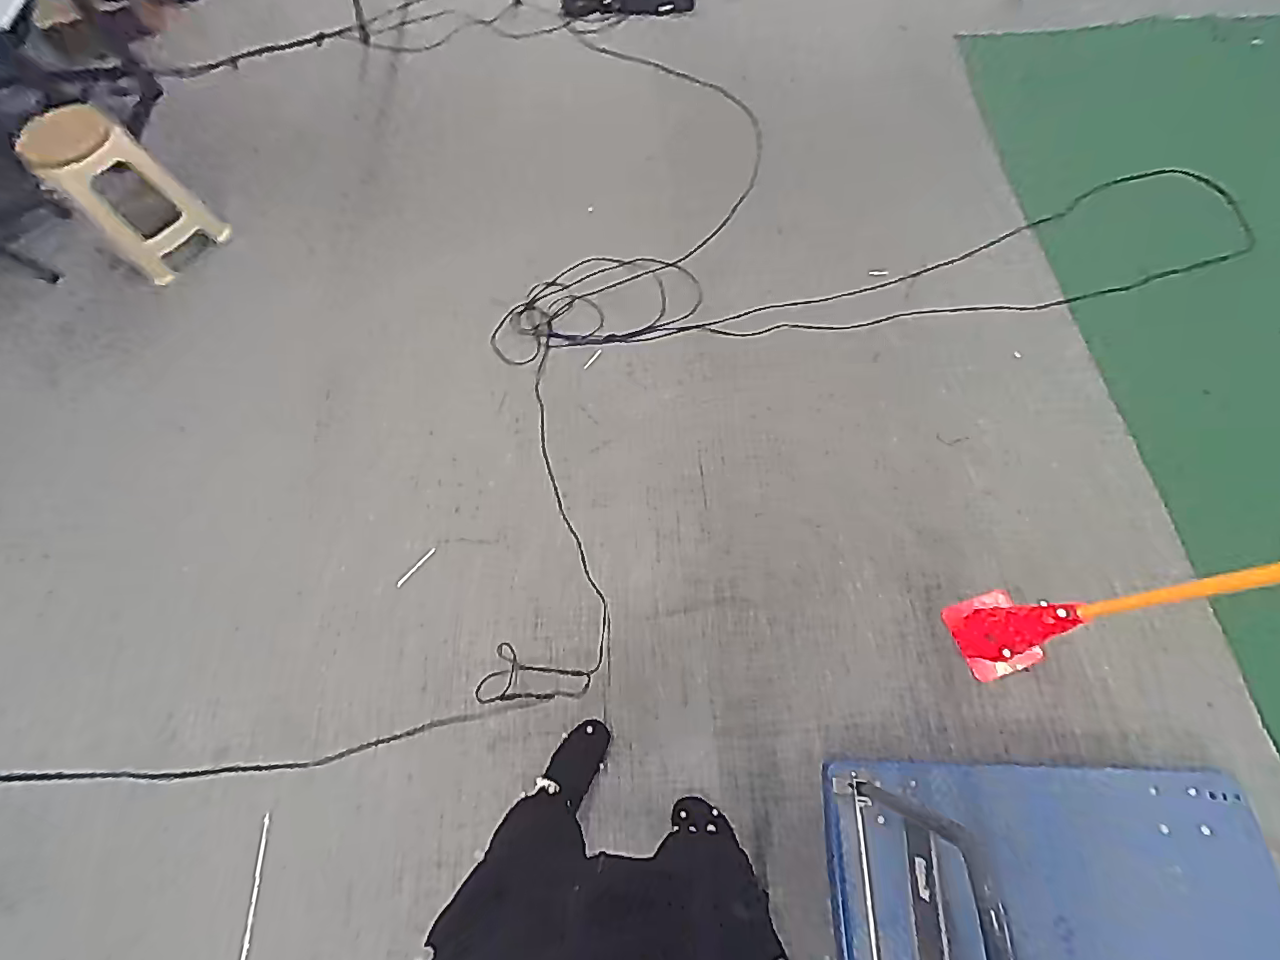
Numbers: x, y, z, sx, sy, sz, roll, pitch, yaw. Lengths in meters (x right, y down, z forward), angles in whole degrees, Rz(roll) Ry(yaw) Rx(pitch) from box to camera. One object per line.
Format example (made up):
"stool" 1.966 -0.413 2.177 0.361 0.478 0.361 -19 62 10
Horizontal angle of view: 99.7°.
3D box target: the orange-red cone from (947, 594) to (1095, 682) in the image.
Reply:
"orange-red cone" 0.938 0.349 1.288 0.198 0.360 0.199 -17 65 -5
